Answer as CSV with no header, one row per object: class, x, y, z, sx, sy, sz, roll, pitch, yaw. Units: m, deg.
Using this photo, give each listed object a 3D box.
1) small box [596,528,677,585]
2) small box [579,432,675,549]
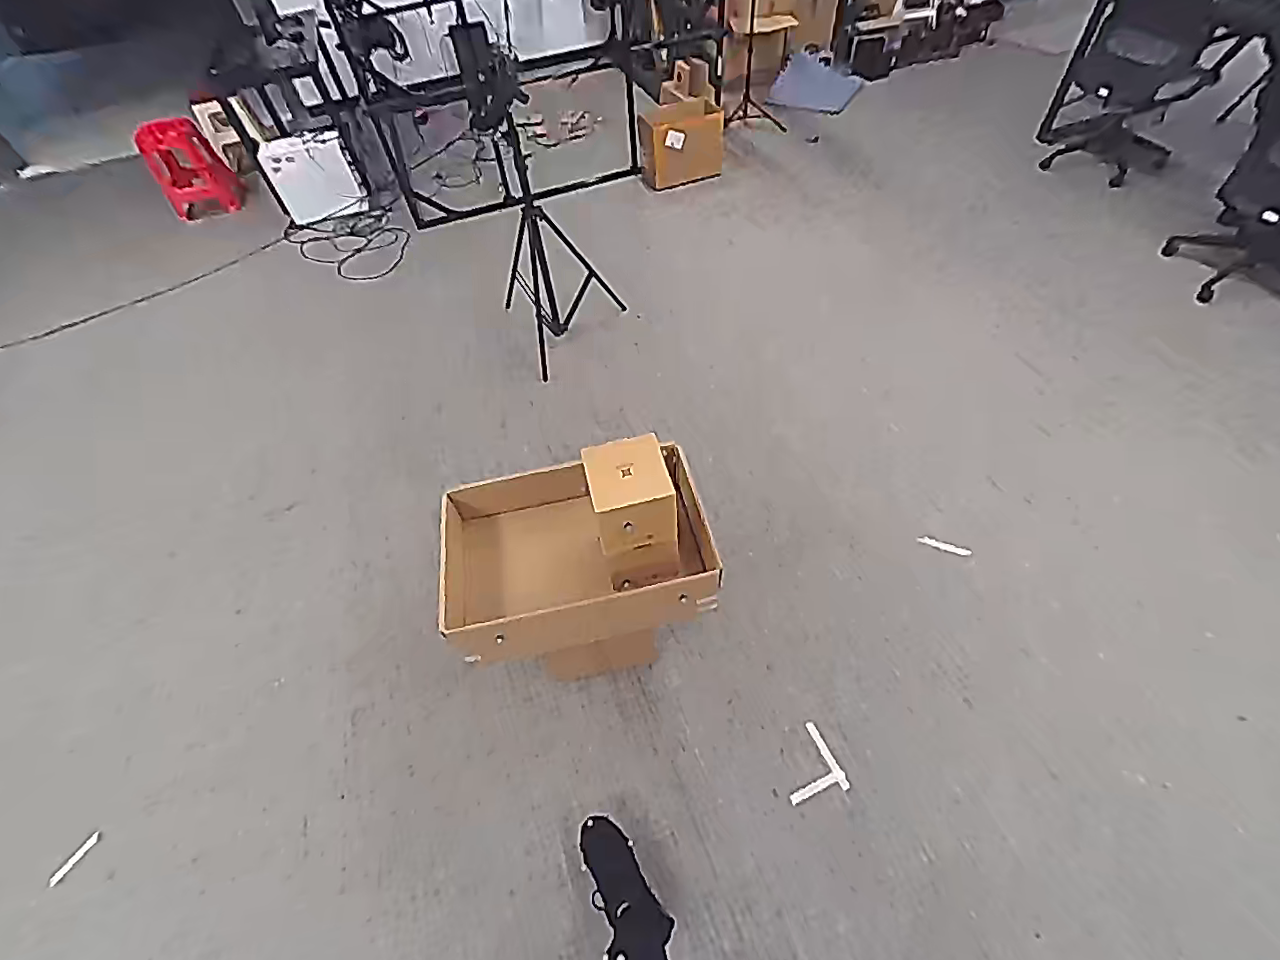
small box,-0.013,0.131,1.285,0.168,0.176,0.179,-14,52,-6
small box,-0.025,0.030,1.158,0.168,0.176,0.179,-14,52,-6
